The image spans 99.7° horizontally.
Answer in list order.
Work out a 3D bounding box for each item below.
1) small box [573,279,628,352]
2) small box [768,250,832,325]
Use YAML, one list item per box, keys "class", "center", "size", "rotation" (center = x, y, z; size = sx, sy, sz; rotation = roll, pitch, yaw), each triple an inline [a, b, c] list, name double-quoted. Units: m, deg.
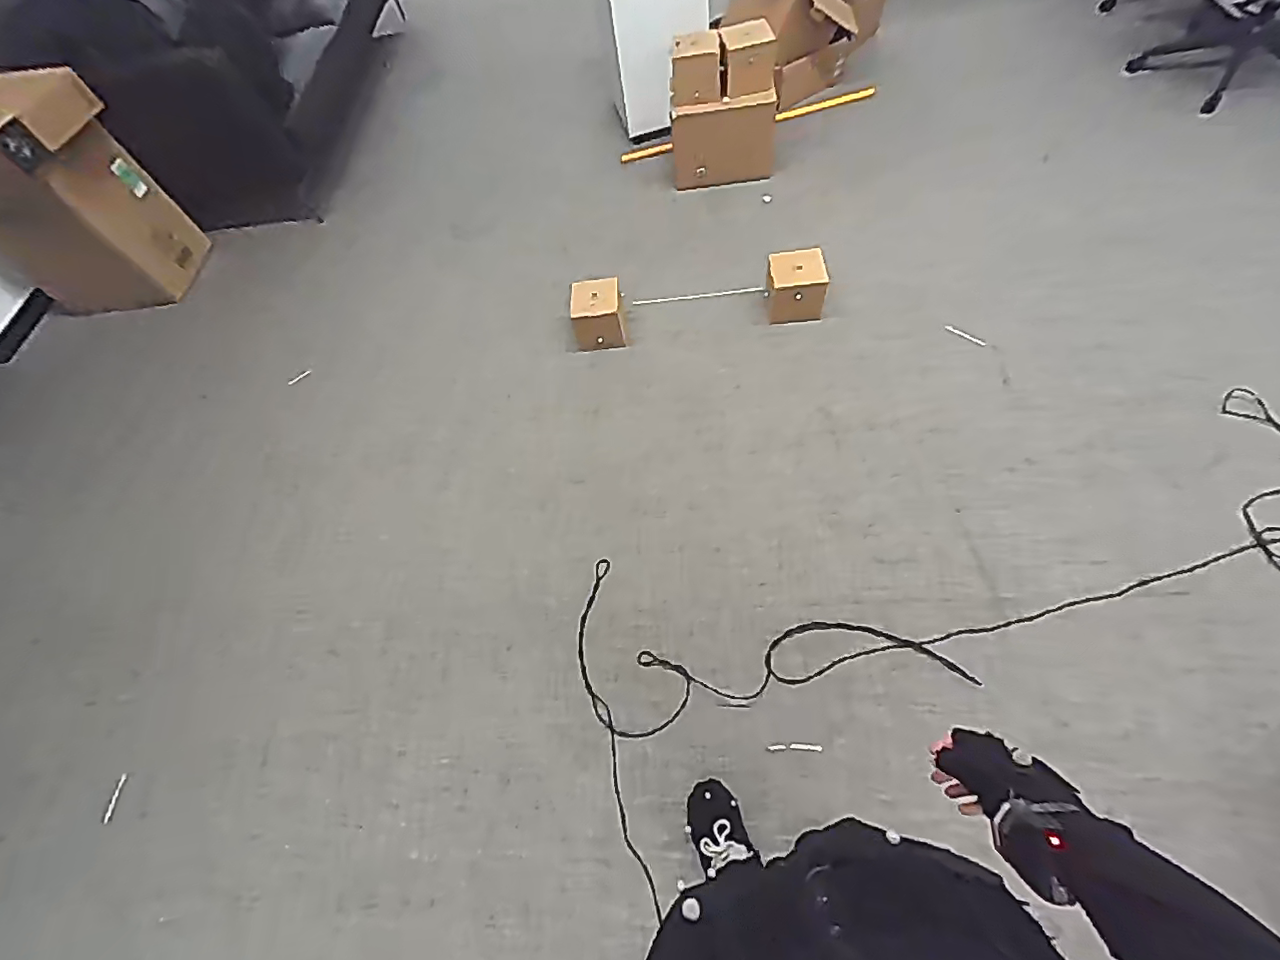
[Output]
- class: "small box"
  center: [-0.137, -0.580, 1.919]
  size: [0.168, 0.176, 0.179]
  rotation: [-5, 60, 7]
- class: "small box"
  center: [0.540, -0.655, 1.850]
  size: [0.179, 0.176, 0.168]
  rotation: [-5, 61, 7]
